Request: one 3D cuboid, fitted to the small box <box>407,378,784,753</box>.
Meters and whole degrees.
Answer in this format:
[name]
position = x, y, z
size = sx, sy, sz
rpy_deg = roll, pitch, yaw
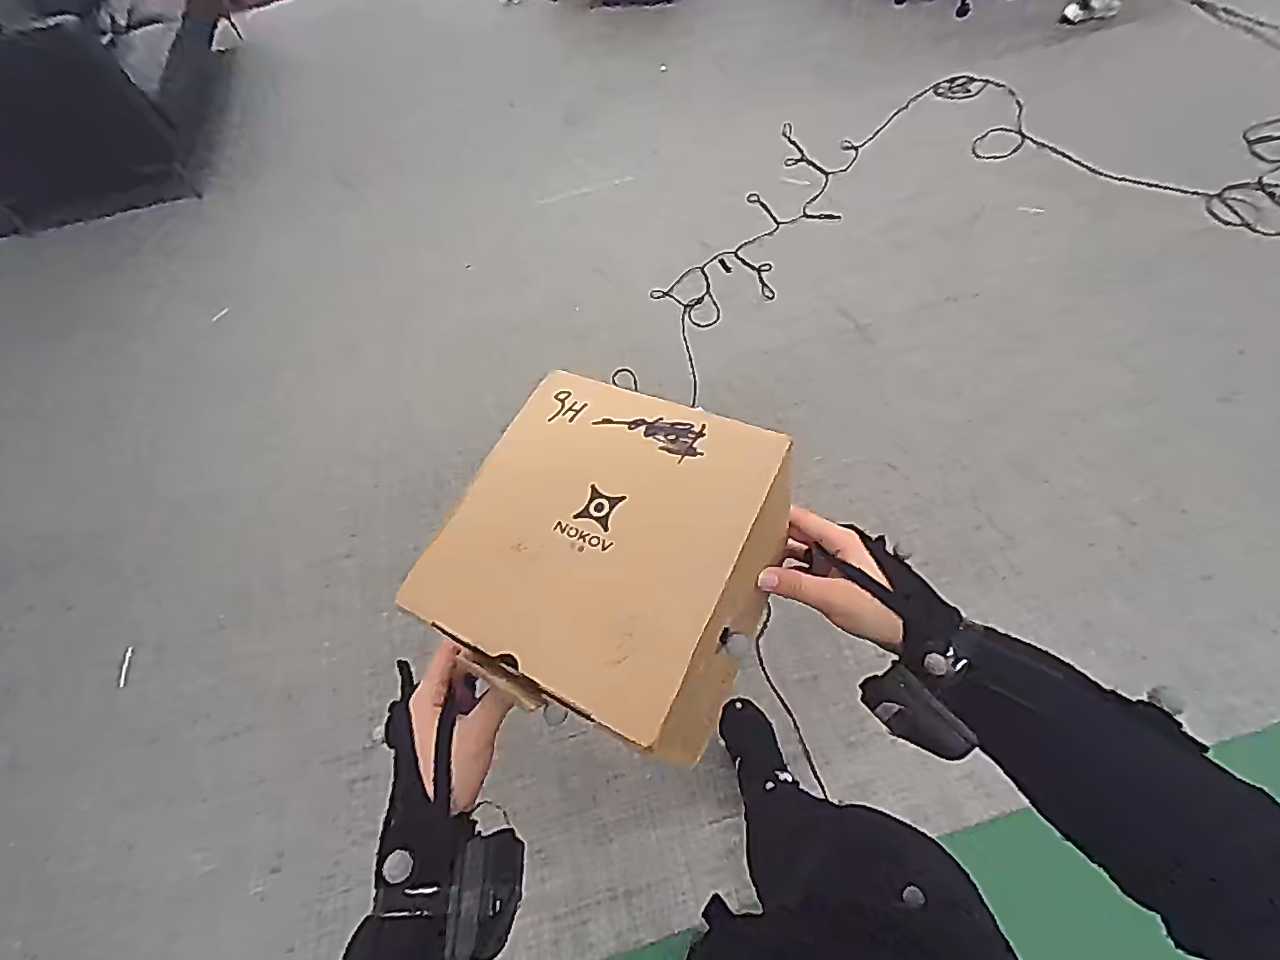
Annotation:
[small box]
position = -0.007, 0.065, 0.370
size = 0.168, 0.176, 0.179
rpy_deg = 19, 68, 23
